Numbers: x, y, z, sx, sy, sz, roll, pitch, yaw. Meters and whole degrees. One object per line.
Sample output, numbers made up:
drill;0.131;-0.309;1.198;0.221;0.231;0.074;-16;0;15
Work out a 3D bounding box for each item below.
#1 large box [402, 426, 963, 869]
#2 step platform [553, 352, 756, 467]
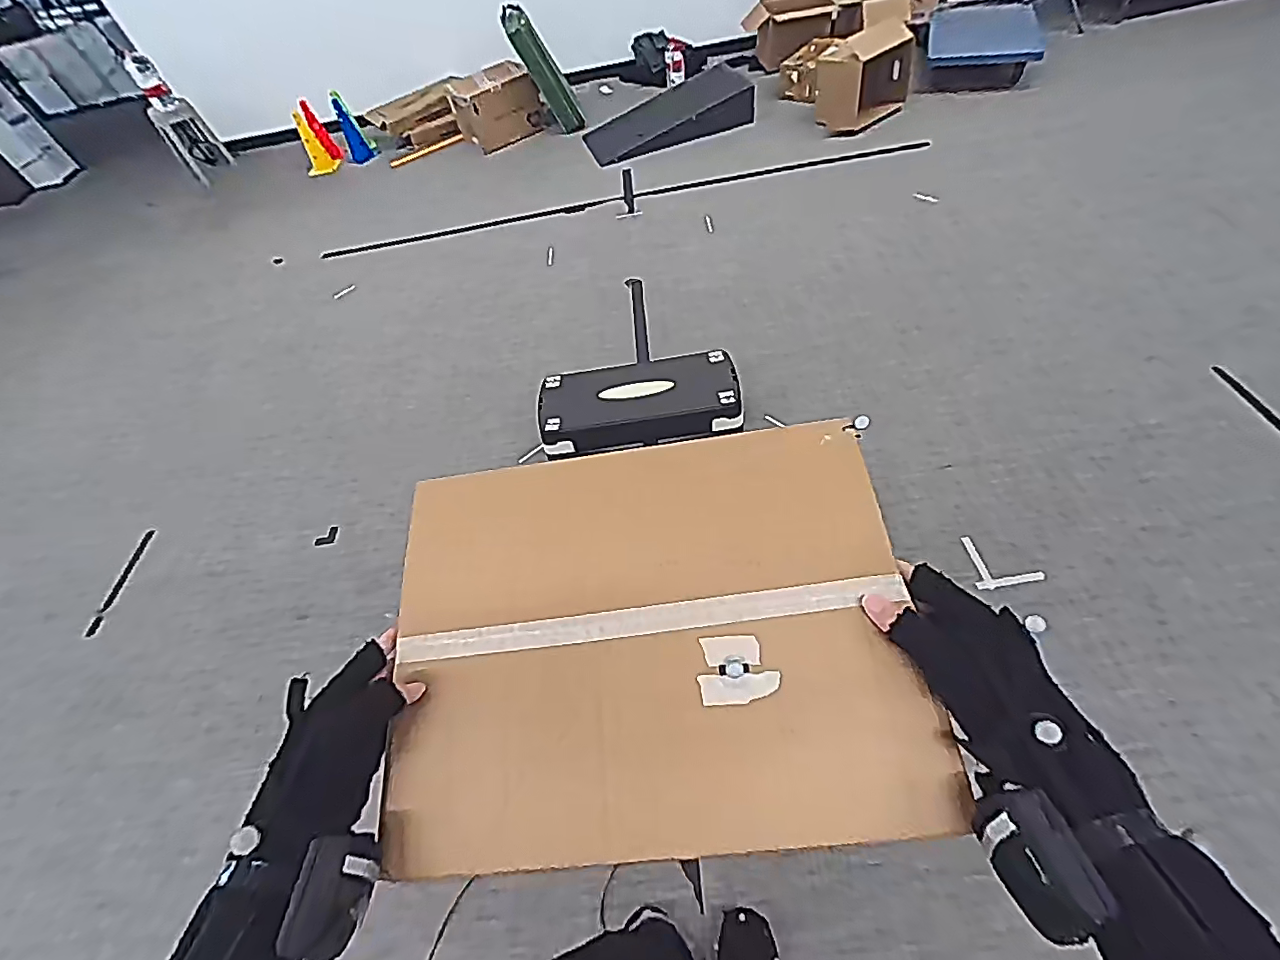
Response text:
large box;0.027;0.181;0.573;0.408;0.320;0.320;-8;63;5
step platform;0.047;-0.239;1.858;0.684;0.204;0.286;-8;53;3
